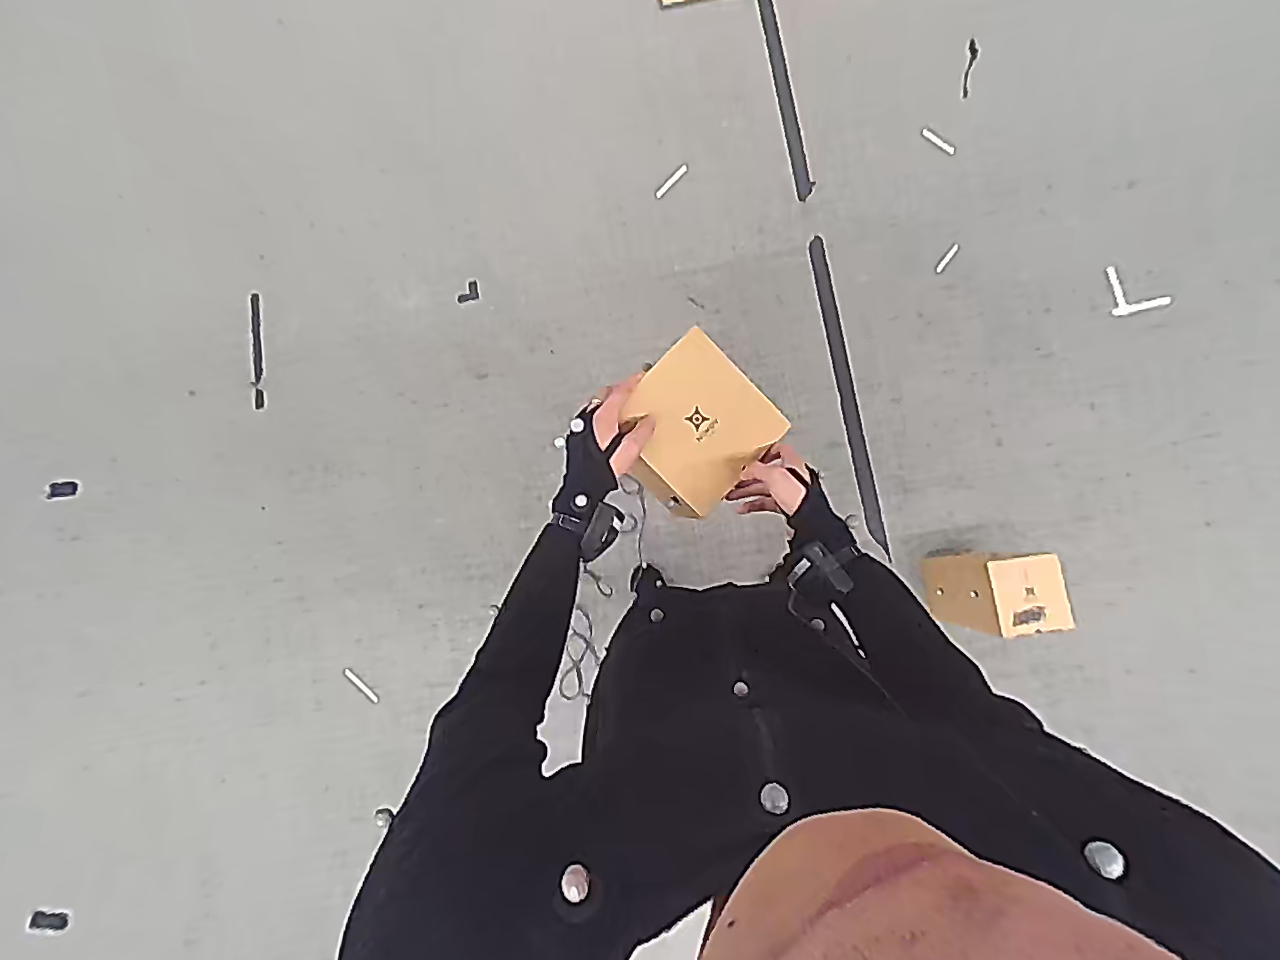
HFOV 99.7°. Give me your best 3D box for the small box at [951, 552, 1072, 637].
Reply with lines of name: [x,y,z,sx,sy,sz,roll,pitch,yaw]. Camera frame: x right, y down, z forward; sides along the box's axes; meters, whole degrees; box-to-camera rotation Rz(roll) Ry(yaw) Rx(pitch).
small box: [0.898,0.274,1.324,0.168,0.176,0.179,-8,82,2]

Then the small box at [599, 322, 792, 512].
small box: [0.060,-0.072,0.727,0.179,0.176,0.168,44,84,-5]
